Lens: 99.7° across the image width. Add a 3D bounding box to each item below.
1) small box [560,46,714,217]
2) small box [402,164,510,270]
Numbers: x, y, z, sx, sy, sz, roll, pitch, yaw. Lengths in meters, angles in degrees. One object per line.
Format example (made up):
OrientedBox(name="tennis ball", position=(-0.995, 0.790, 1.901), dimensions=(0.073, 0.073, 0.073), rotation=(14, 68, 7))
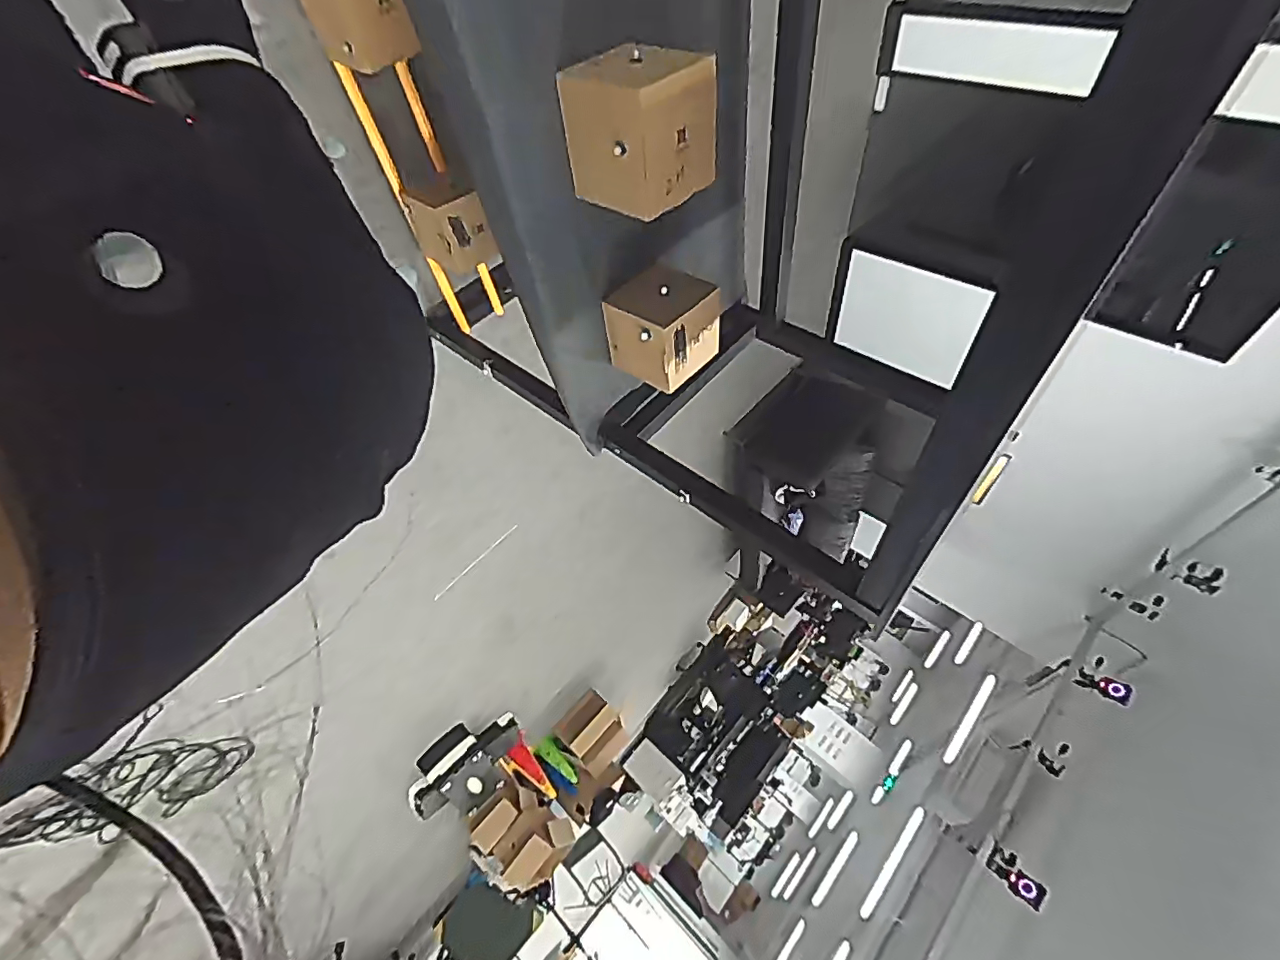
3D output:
OrientedBox(name="small box", position=(-0.003, -0.543, 0.835), dimensions=(0.168, 0.176, 0.179), rotation=(-42, 149, -25))
OrientedBox(name="small box", position=(-0.458, -0.653, 1.338), dimensions=(0.179, 0.176, 0.168), rotation=(-42, 149, -25))
